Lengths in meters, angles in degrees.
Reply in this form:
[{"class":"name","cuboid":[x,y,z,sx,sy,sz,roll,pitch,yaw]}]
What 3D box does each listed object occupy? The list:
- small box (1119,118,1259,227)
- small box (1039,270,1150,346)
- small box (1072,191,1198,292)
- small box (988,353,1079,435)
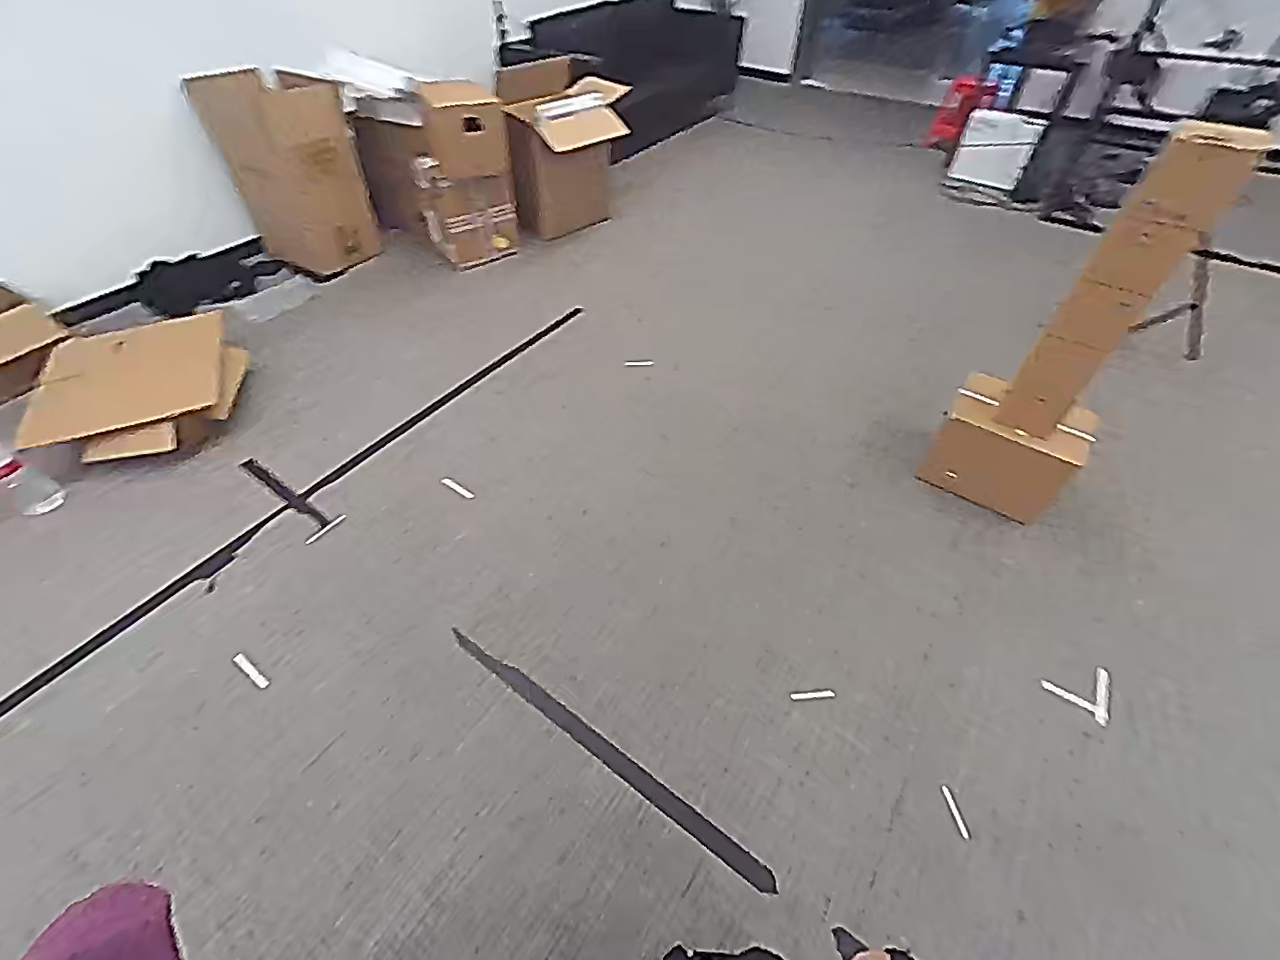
[{"class":"small box","cuboid":[1.265,-0.713,1.256,0.168,0.176,0.179,30,55,24]},{"class":"small box","cuboid":[1.262,-0.495,1.500,0.179,0.176,0.168,30,55,24]},{"class":"small box","cuboid":[1.263,-0.604,1.380,0.179,0.176,0.168,30,56,25]},{"class":"small box","cuboid":[1.262,-0.274,1.743,0.179,0.176,0.168,27,55,21]}]
